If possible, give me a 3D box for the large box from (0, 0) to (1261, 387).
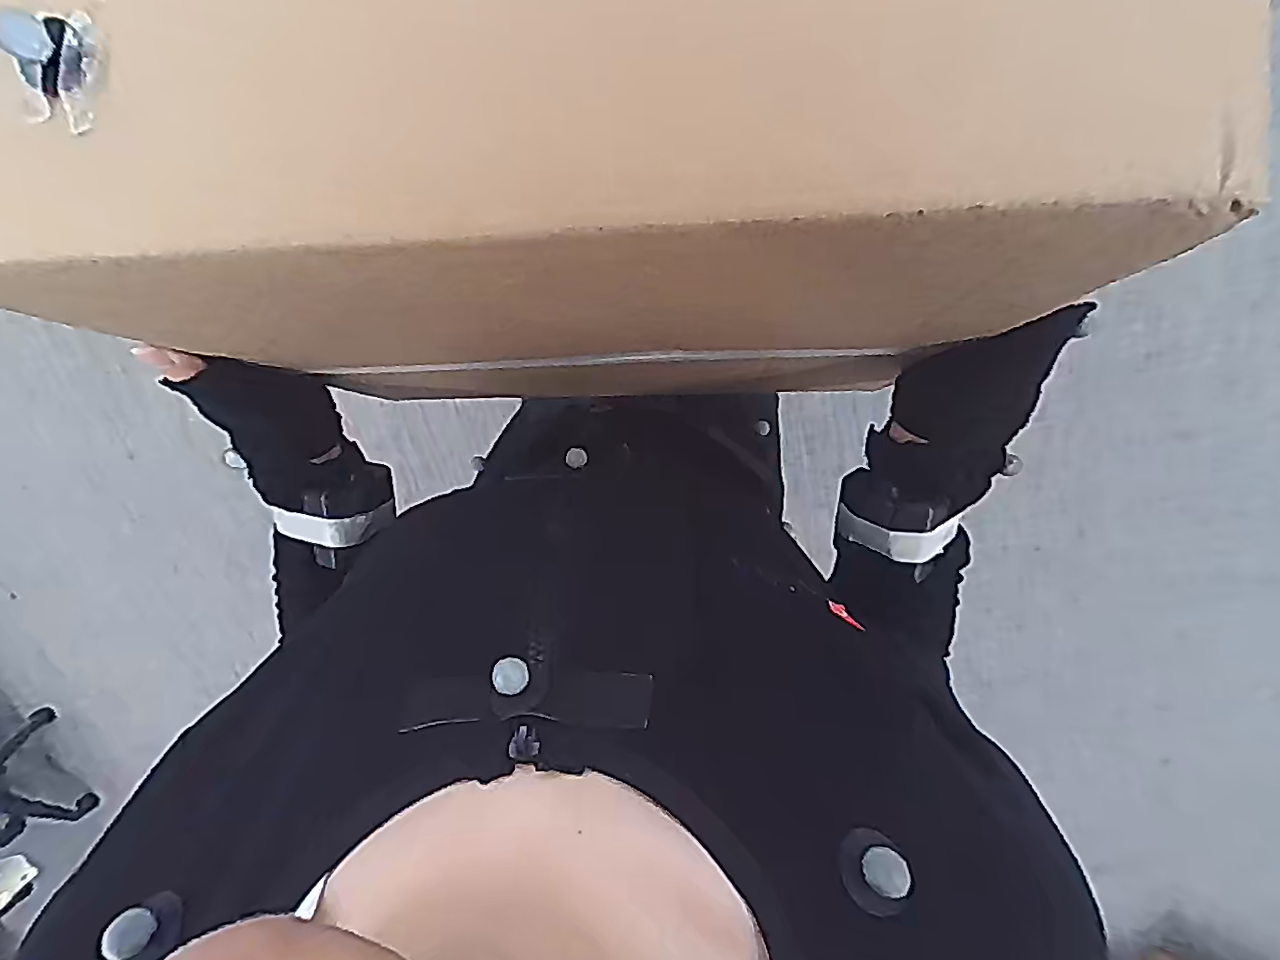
[{"bbox_3d":[-0.026,-0.234,0.306,0.408,0.320,0.320,0,91,5],"label":"large box"}]
